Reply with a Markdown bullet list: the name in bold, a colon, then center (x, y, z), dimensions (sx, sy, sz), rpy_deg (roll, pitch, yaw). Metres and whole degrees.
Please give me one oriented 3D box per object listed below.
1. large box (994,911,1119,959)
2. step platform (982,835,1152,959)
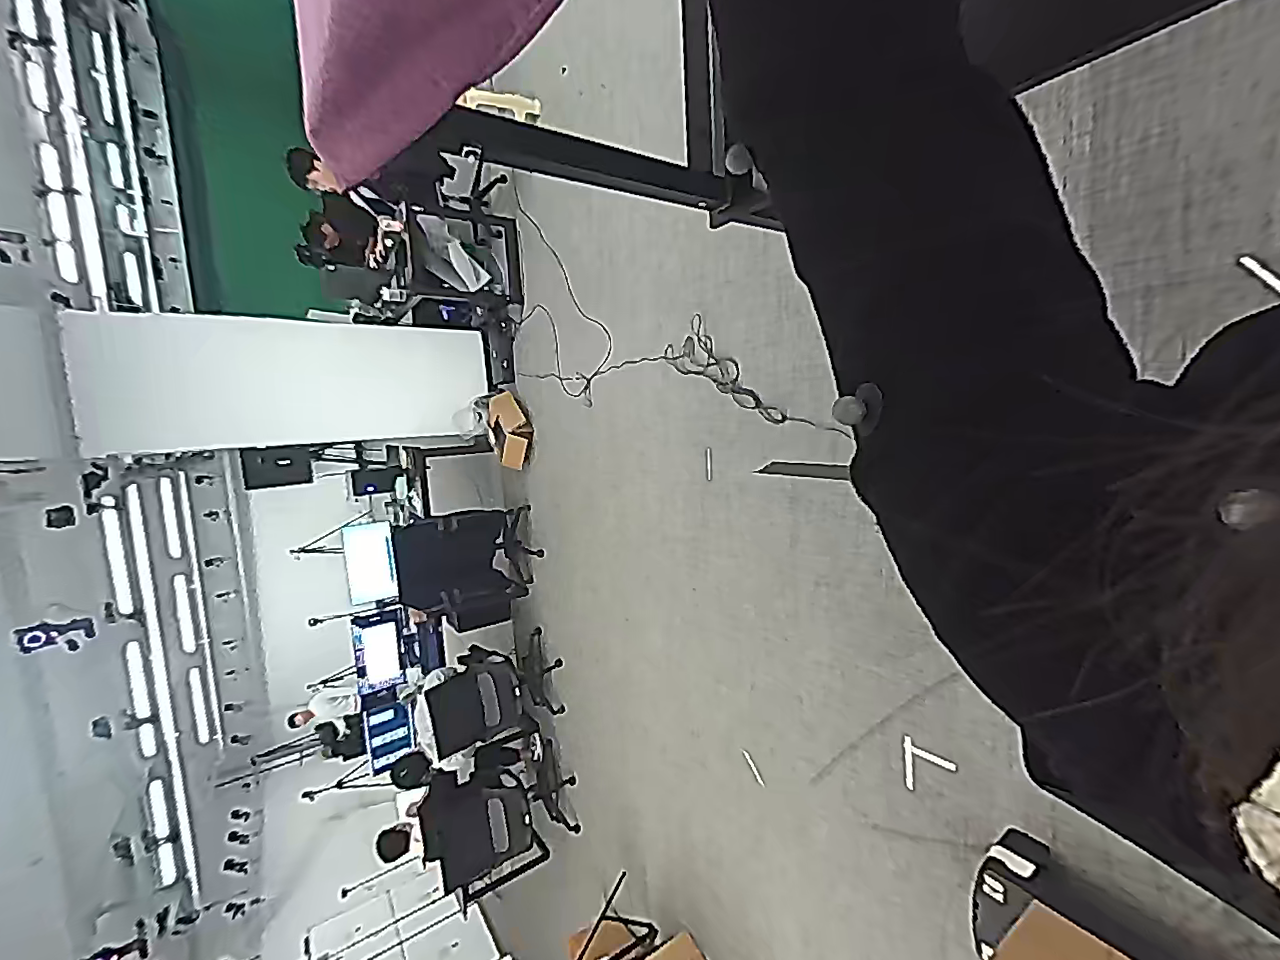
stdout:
- **large box**: center (0.916, 1.168, 1.029), dimensions (0.408, 0.320, 0.320), rpy_deg (8, 103, 55)
- **step platform**: center (1.123, 1.129, 1.144), dimensions (0.684, 0.204, 0.286), rpy_deg (17, 109, 53)
